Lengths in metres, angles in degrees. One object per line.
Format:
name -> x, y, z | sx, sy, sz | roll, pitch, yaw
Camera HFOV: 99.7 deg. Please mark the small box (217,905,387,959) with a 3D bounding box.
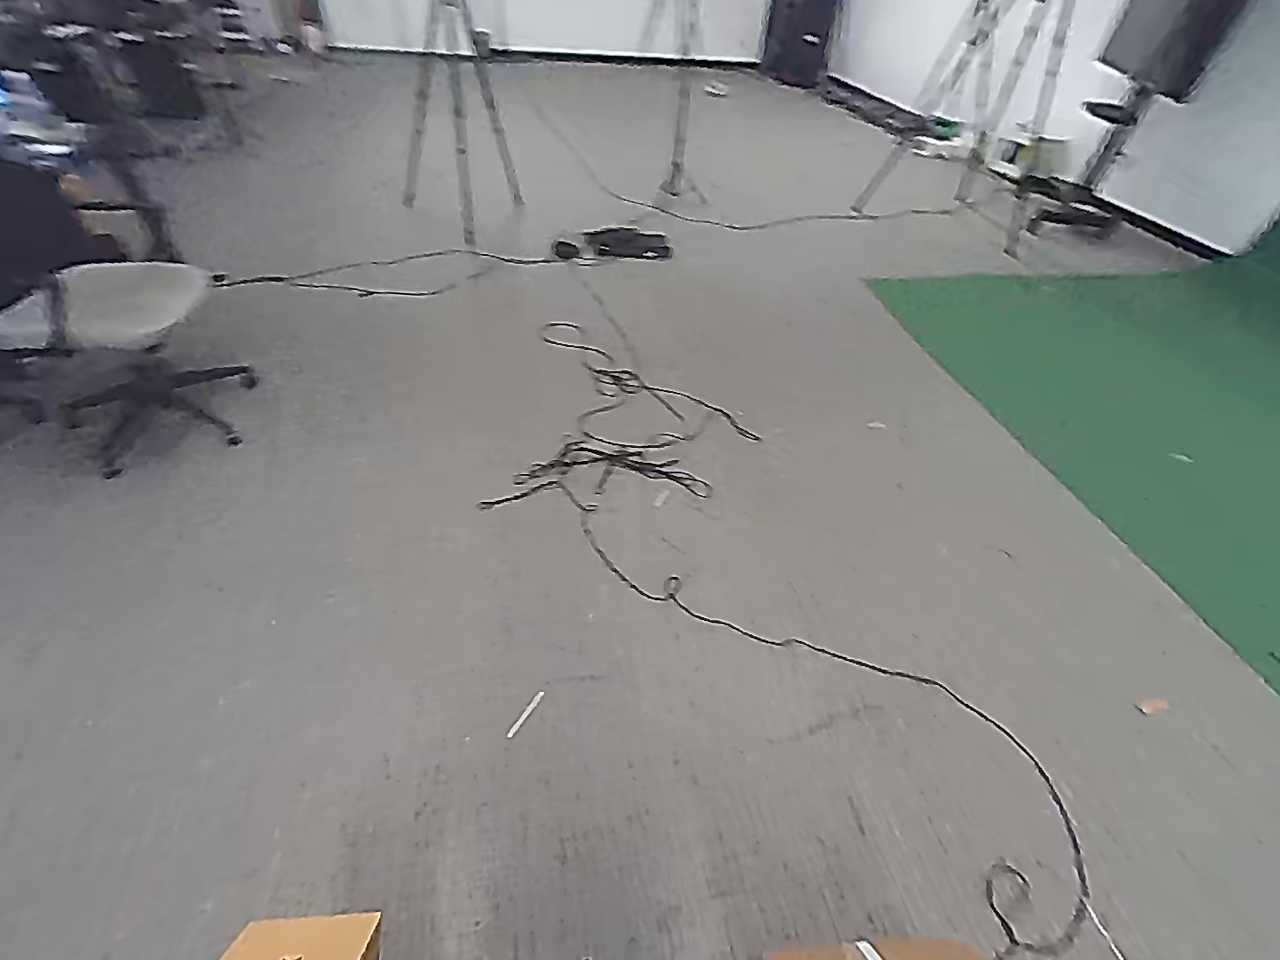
small box -> -0.418, 0.646, 0.634 | 0.168, 0.179, 0.176 | 3, 83, -8
